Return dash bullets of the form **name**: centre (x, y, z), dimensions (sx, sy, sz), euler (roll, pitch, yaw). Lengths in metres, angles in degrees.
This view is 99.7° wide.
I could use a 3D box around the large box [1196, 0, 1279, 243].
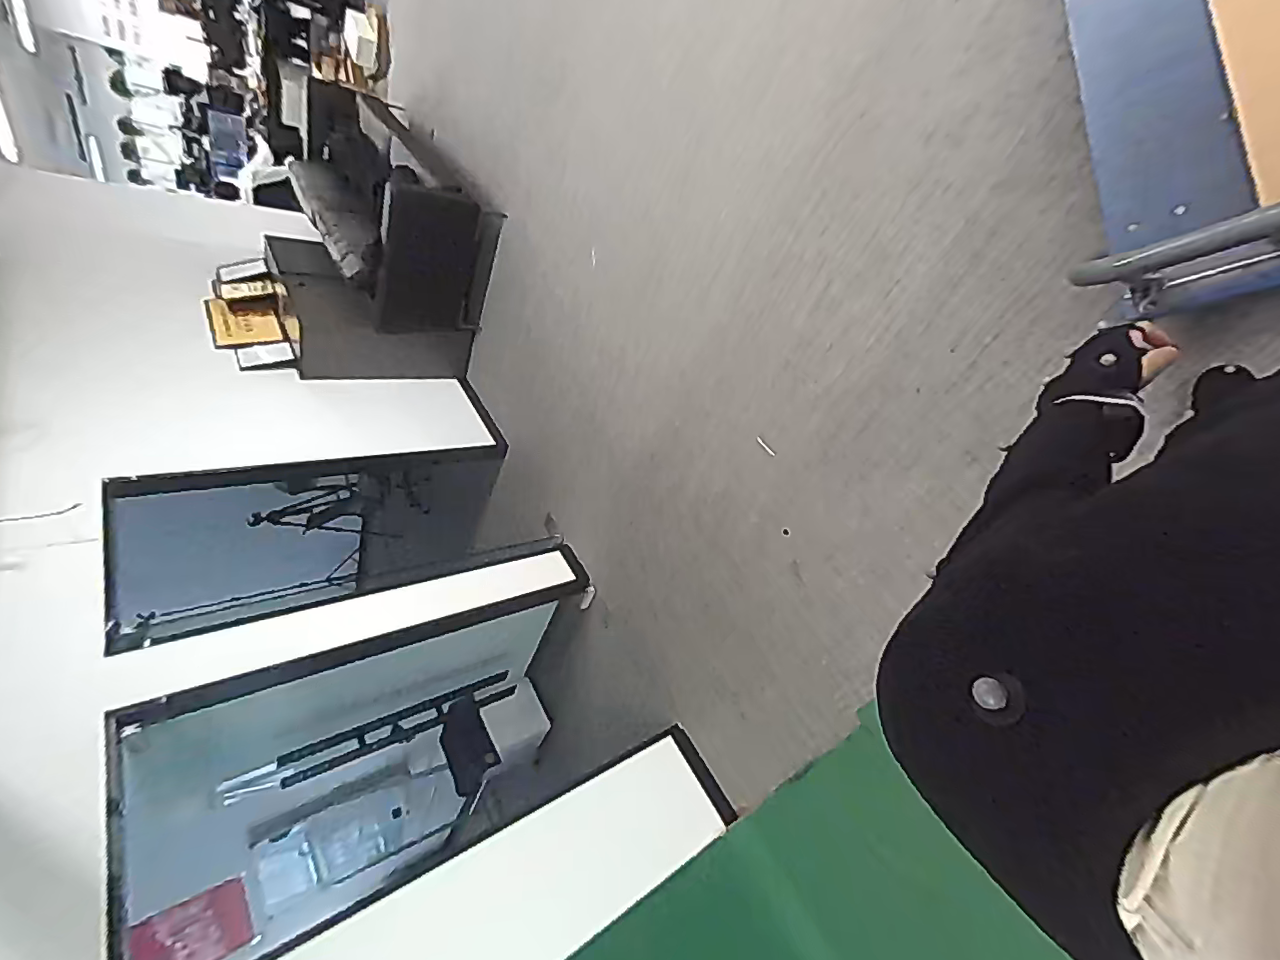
- **large box**: centre (1.070, -0.623, 0.773), dimensions (0.320, 0.320, 0.408), euler (-14, 85, 50)
